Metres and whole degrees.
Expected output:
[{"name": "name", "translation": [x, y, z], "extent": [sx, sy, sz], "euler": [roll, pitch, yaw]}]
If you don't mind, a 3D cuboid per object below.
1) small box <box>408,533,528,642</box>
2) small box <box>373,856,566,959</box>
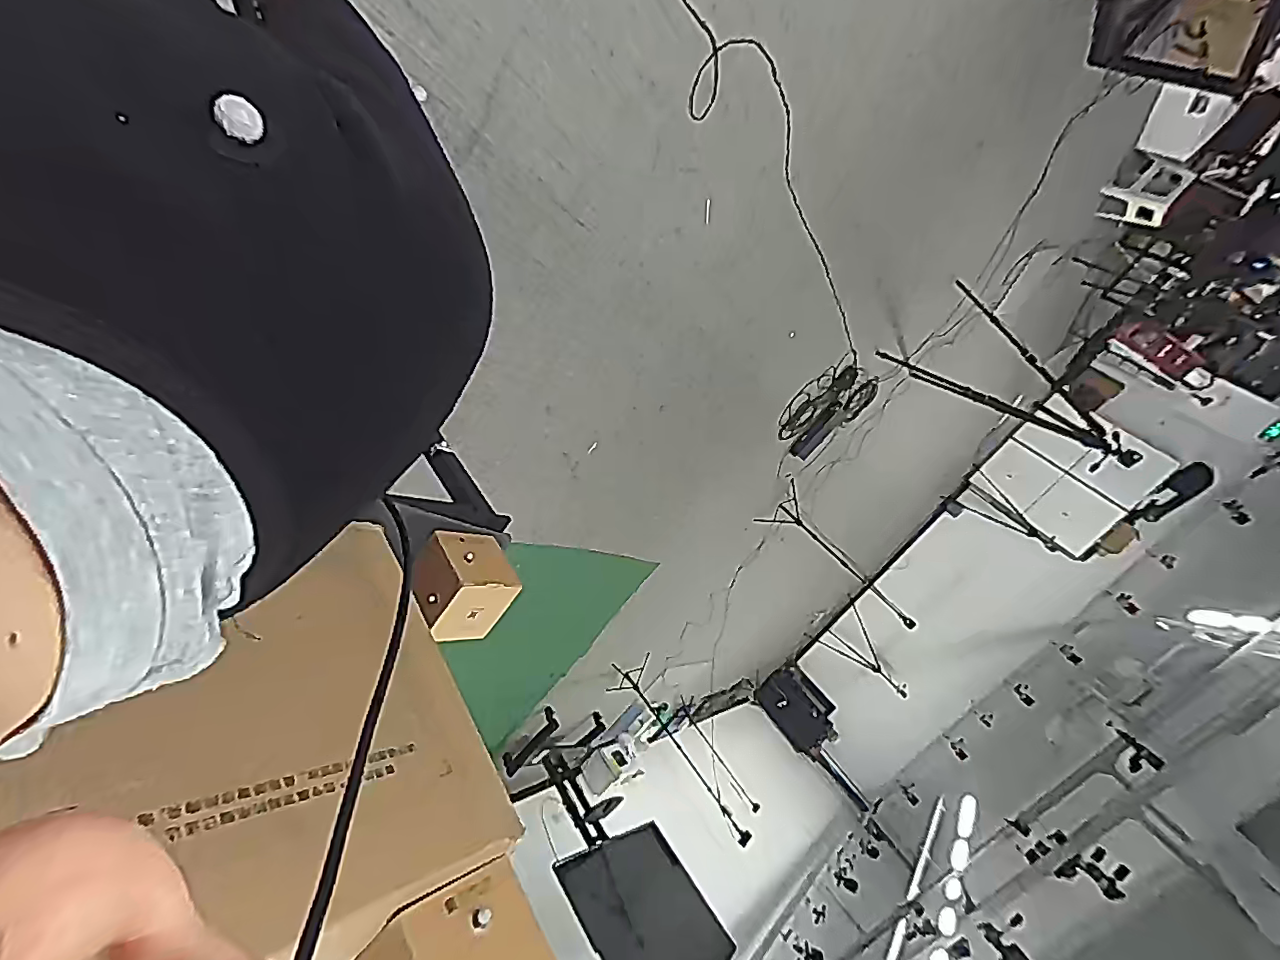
[{"name": "small box", "translation": [-0.392, 0.237, 1.217], "extent": [0.168, 0.176, 0.179], "euler": [15, 118, -52]}, {"name": "small box", "translation": [-0.205, 0.595, 0.633], "extent": [0.179, 0.176, 0.168], "euler": [-53, 149, 13]}]
